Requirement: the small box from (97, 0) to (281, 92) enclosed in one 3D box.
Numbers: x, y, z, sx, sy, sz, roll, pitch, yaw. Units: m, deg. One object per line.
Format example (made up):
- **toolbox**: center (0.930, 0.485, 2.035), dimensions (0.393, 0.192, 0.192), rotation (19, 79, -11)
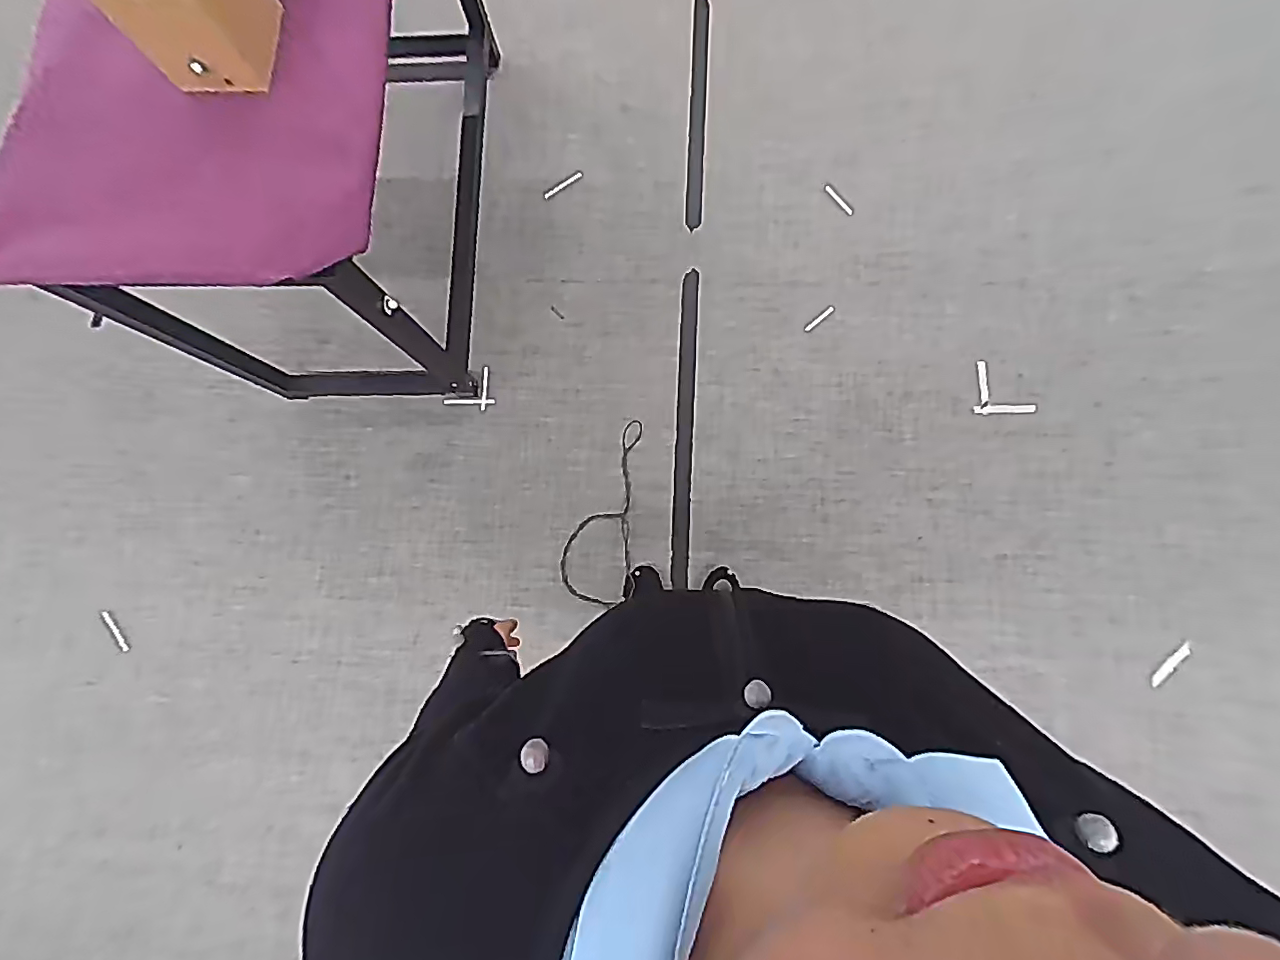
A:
- **small box**: center (-0.727, -0.782, 0.883), dimensions (0.168, 0.176, 0.179), rotation (2, 81, 3)
